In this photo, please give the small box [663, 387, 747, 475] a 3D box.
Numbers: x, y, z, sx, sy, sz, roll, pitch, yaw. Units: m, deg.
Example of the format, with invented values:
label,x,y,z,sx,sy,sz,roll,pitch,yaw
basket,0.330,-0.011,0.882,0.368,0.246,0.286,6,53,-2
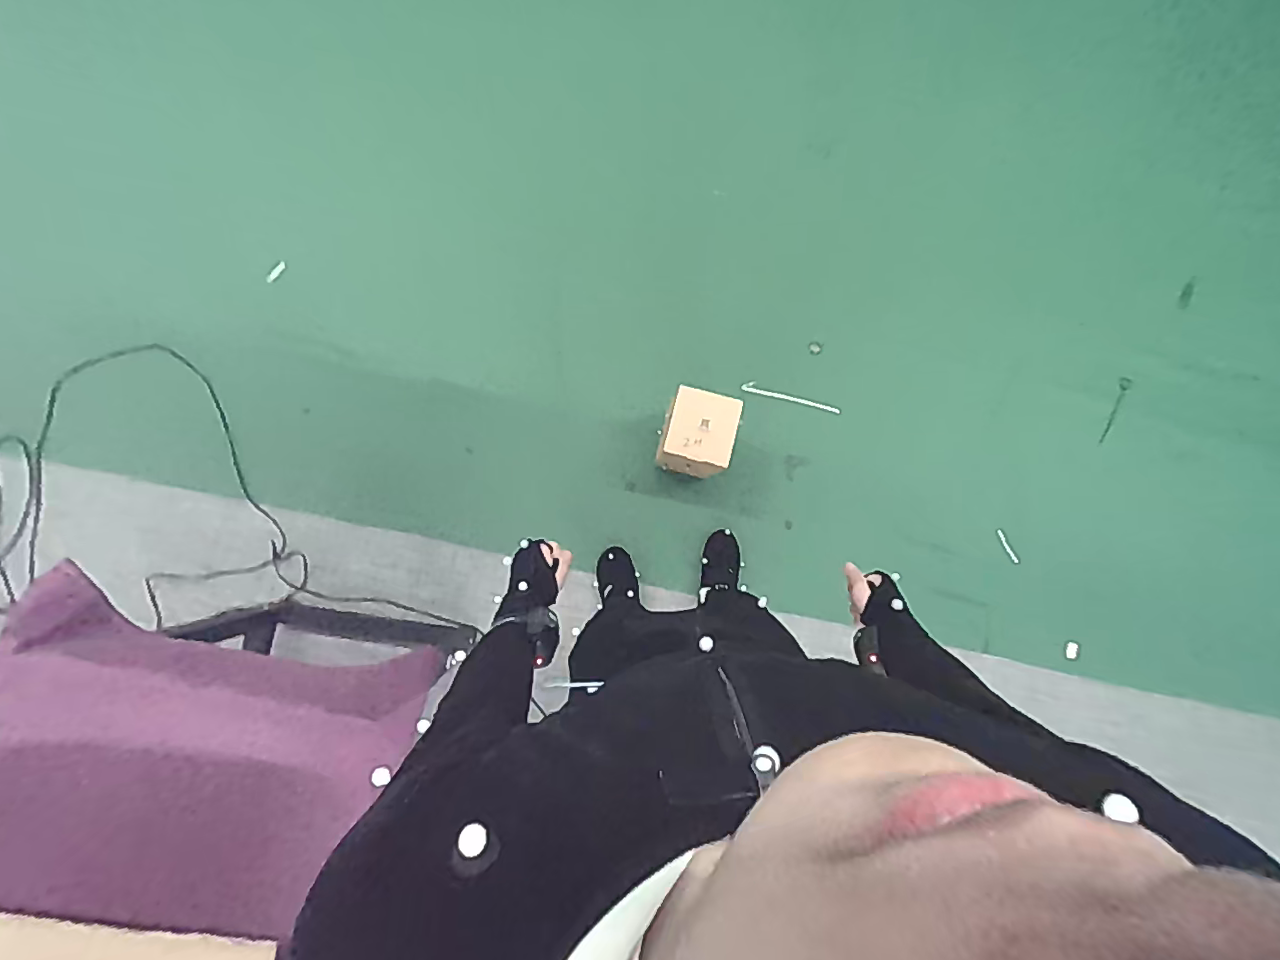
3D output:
label,x,y,z,sx,sy,sz,roll,pitch,yaw
small box,0.160,-0.120,1.399,0.168,0.176,0.179,15,85,-1
